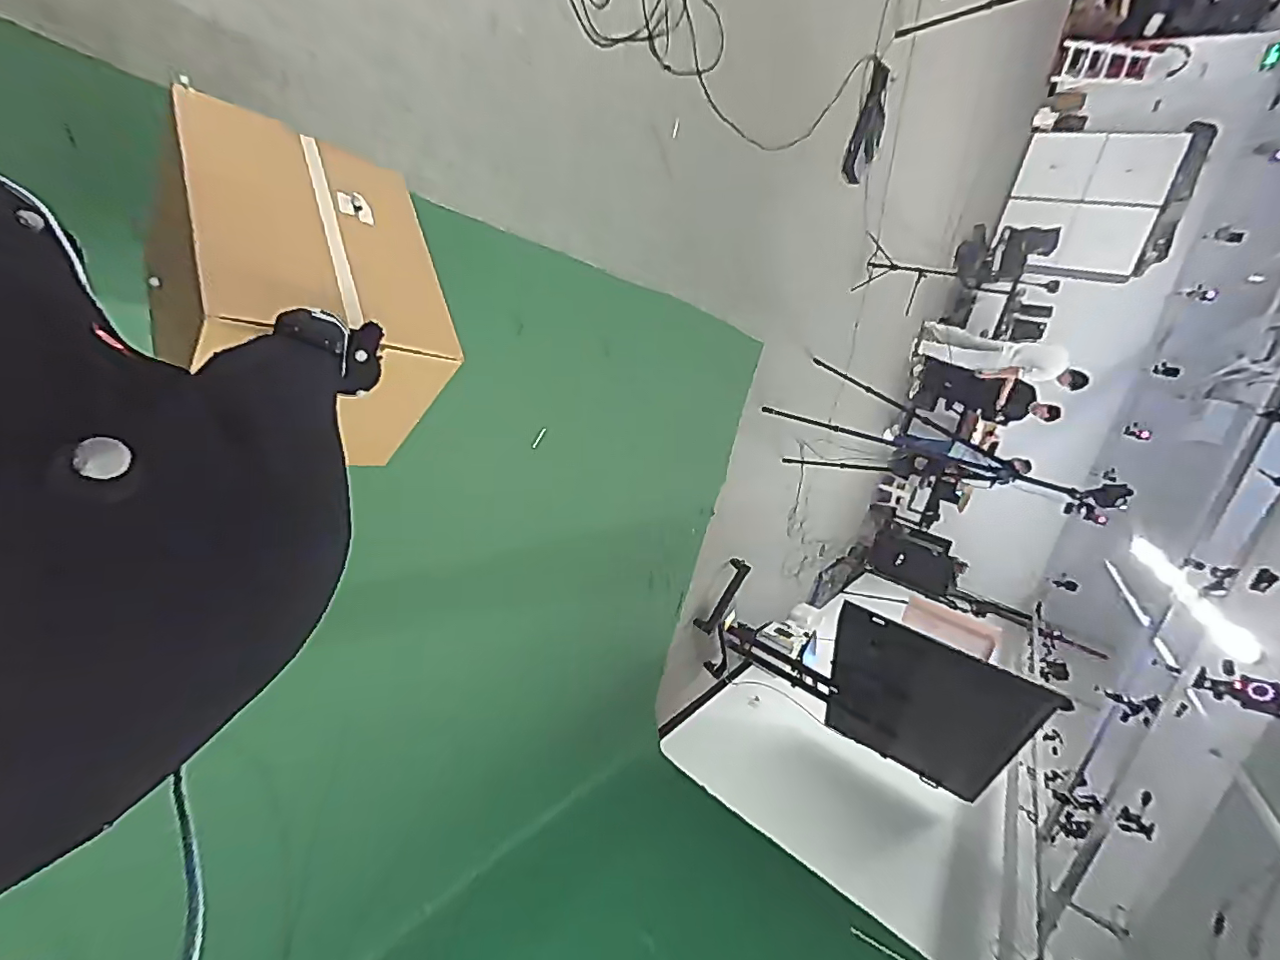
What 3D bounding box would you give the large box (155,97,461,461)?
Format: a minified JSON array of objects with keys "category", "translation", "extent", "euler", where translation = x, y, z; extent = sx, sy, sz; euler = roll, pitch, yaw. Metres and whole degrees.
[{"category":"large box","translation":[-0.544,-0.275,0.867],"extent":[0.320,0.408,0.320],"euler":[0,150,-49]}]
